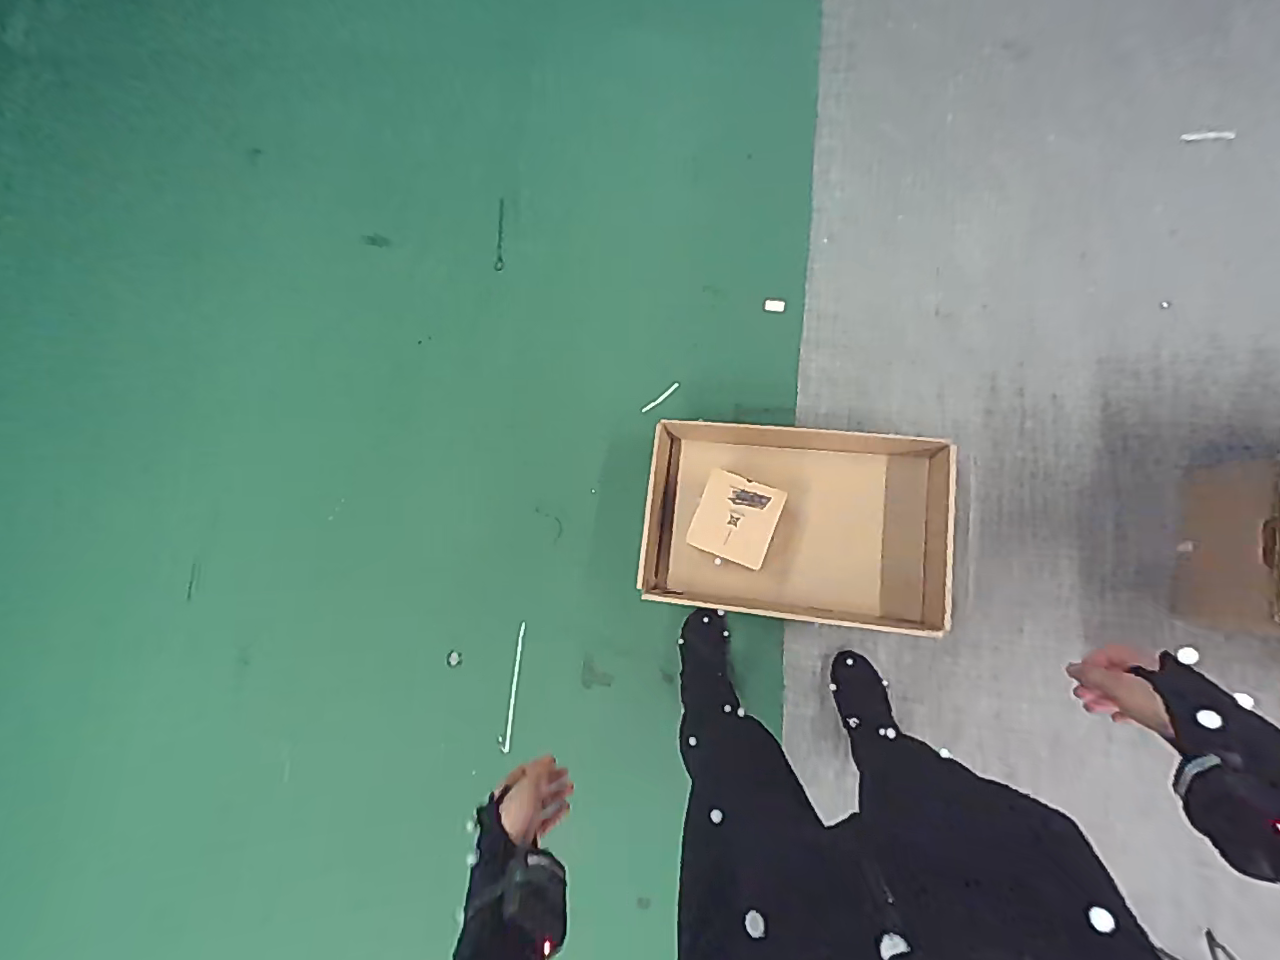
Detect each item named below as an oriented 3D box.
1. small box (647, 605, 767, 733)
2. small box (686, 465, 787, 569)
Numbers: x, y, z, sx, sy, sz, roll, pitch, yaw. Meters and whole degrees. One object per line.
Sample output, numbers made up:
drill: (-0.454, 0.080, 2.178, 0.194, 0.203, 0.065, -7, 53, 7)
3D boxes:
small box: (0.153, 0.407, 1.185, 0.179, 0.168, 0.176, -39, 106, -22)
small box: (0.212, 0.087, 1.198, 0.168, 0.176, 0.179, 20, 85, 12)
